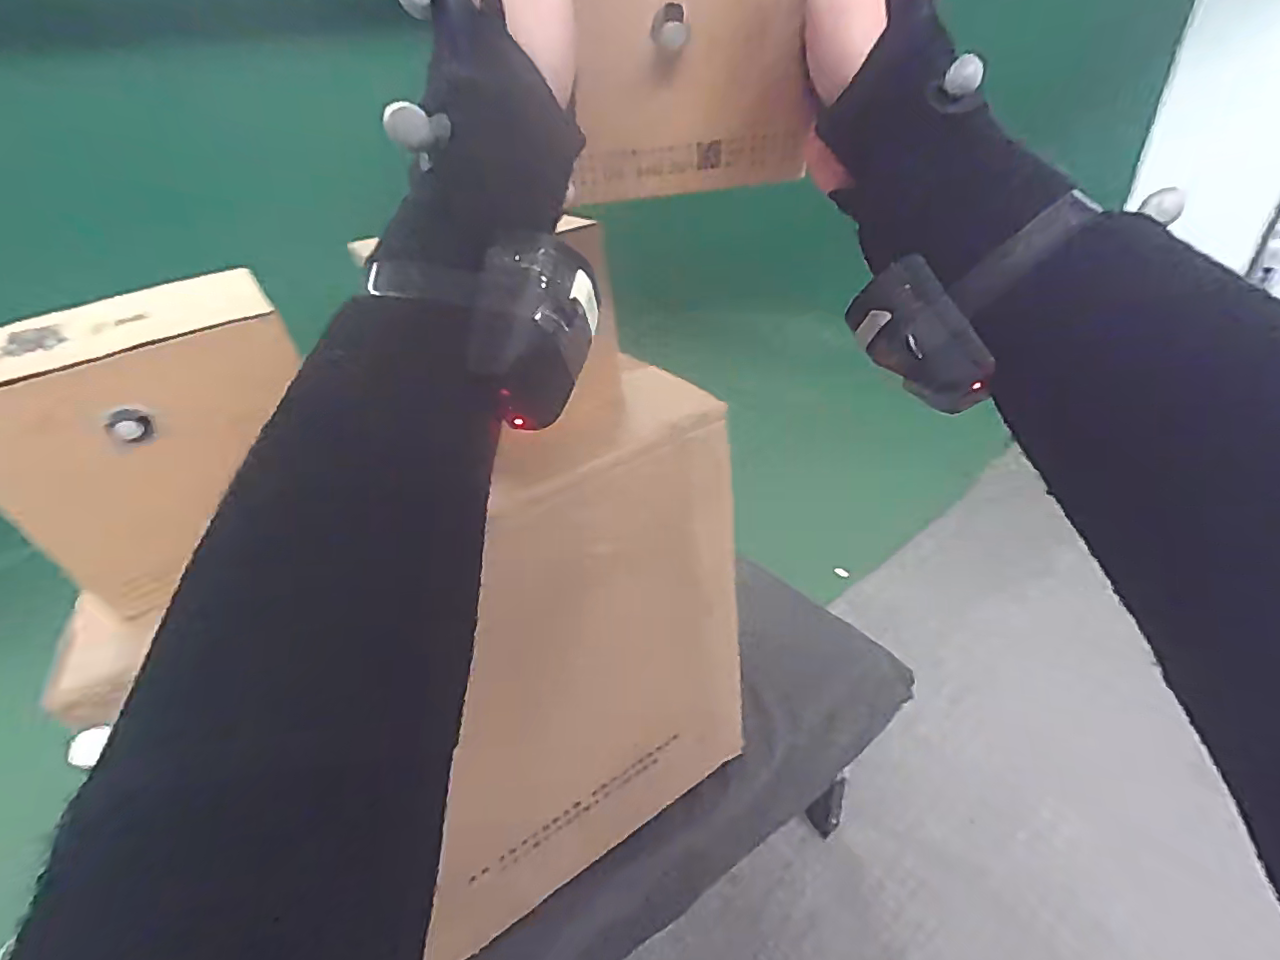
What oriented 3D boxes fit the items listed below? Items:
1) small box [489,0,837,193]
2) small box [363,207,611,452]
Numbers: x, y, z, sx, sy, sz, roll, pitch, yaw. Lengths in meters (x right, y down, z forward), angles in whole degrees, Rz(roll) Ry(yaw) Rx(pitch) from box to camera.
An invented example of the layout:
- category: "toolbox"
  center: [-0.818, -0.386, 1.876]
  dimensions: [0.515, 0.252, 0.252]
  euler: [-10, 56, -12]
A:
- category: "small box"
  center: [0.013, -0.303, 0.347]
  dimensions: [0.179, 0.176, 0.168]
  euler: [-29, 46, -21]
- category: "small box"
  center: [-0.140, -0.154, 0.533]
  dimensions: [0.179, 0.176, 0.168]
  euler: [-25, 39, -22]
